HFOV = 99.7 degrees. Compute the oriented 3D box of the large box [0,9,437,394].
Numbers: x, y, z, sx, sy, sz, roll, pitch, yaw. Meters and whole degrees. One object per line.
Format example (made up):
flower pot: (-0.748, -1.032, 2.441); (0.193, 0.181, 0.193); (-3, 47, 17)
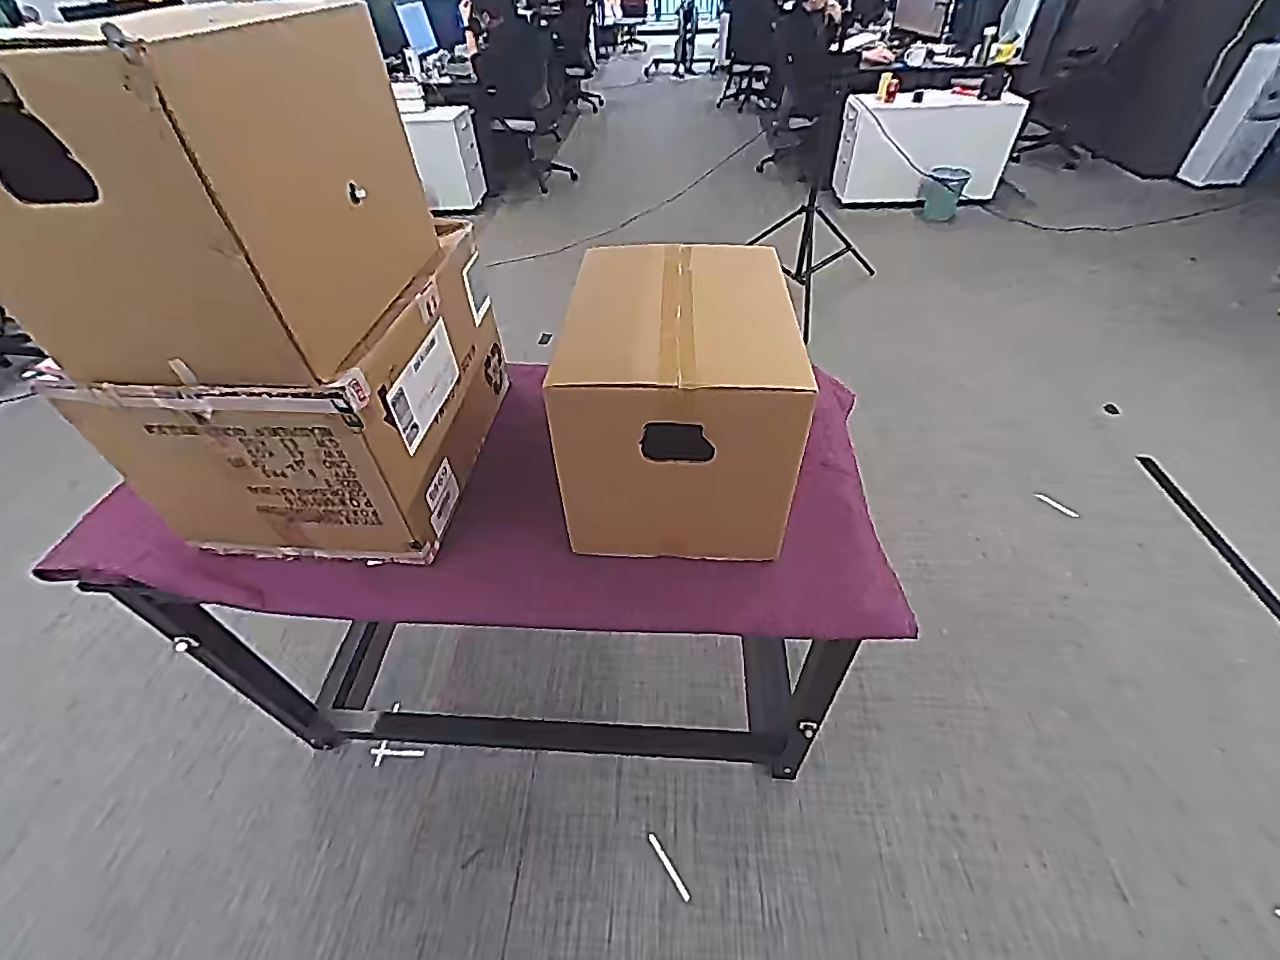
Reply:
large box: (-0.494, -0.349, 0.661); (0.320, 0.320, 0.408); (0, 45, 5)
